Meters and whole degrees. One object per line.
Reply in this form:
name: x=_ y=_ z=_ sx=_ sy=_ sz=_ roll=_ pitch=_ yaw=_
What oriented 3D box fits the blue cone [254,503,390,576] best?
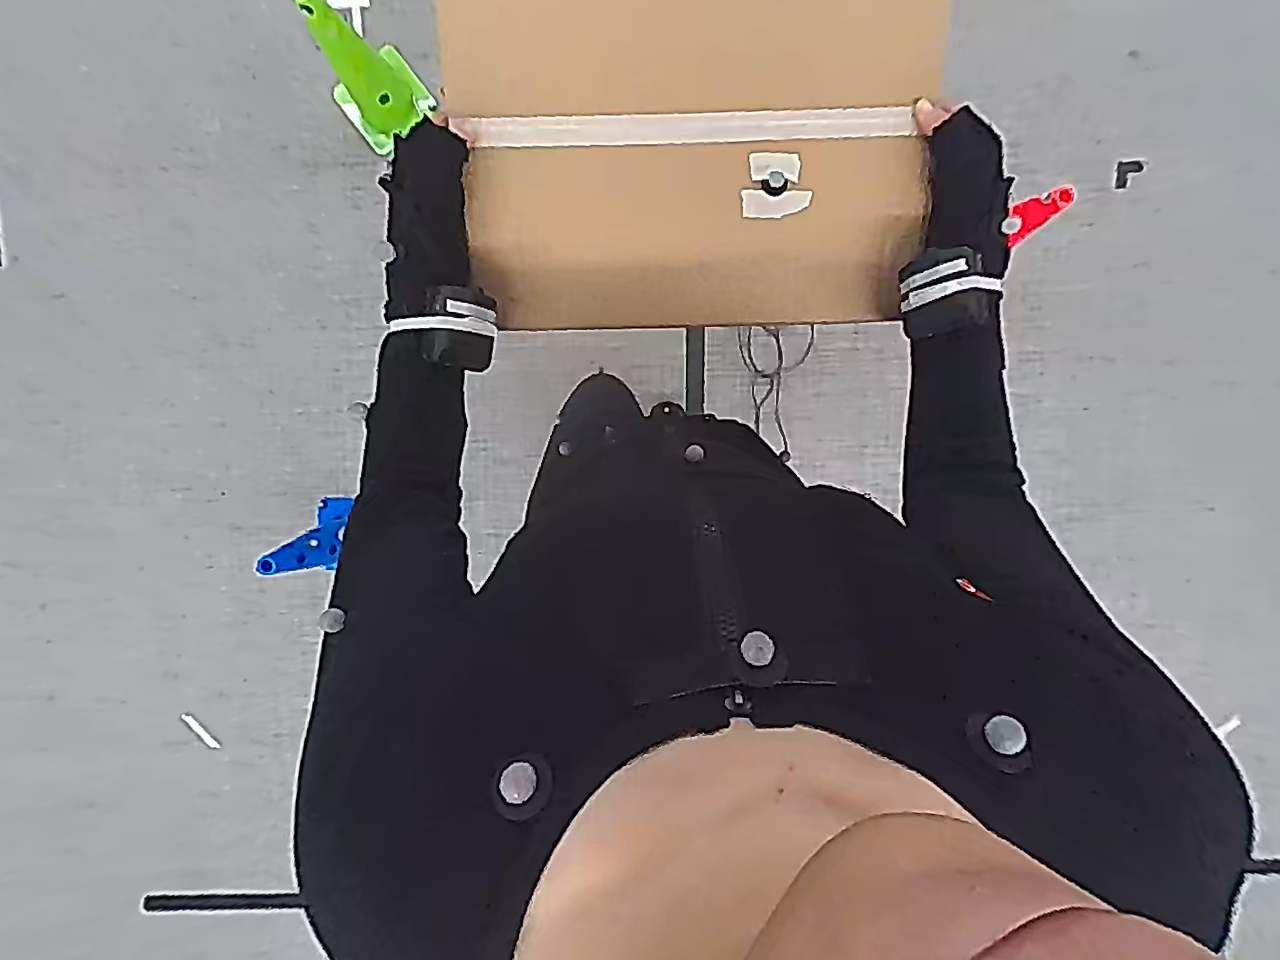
blue cone: x=-0.782 y=0.171 z=1.320 sx=0.192 sy=0.380 sz=0.193 roll=2 pitch=95 yaw=1

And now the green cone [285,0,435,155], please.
green cone: x=-0.654 y=-0.948 z=1.205 sx=0.202 sy=0.368 sz=0.200 roll=-39 pitch=93 yaw=5

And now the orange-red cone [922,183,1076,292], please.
orange-red cone: x=0.839 y=-0.583 z=1.242 sx=0.198 sy=0.360 sz=0.199 roll=-4 pitch=94 yaw=-1

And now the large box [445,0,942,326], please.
large box: x=0.042 y=-0.340 z=0.596 sx=0.408 sy=0.320 sz=0.320 roll=-2 pitch=107 yaw=-1
